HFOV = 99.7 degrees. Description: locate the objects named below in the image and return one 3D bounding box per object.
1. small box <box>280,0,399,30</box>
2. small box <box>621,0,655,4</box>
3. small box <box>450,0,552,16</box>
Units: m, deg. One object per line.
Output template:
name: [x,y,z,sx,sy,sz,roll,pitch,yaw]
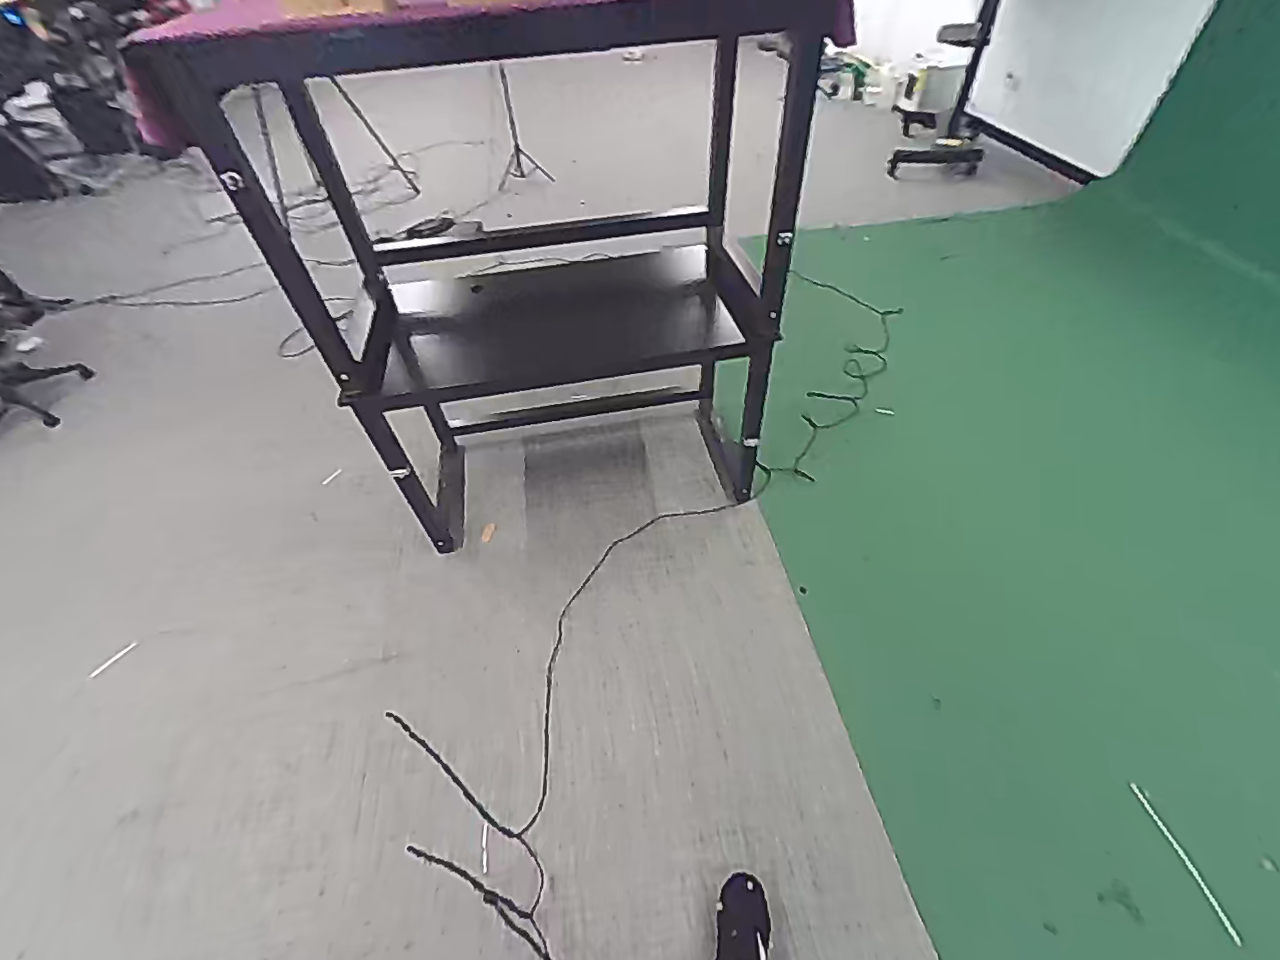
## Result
small box: [-0.525,-0.878,0.910,0.168,0.176,0.179,-10,46,-6]
small box: [0.032,-0.969,0.956,0.179,0.176,0.168,-10,49,-4]
small box: [-0.256,-0.924,0.935,0.179,0.176,0.168,-8,47,-4]
